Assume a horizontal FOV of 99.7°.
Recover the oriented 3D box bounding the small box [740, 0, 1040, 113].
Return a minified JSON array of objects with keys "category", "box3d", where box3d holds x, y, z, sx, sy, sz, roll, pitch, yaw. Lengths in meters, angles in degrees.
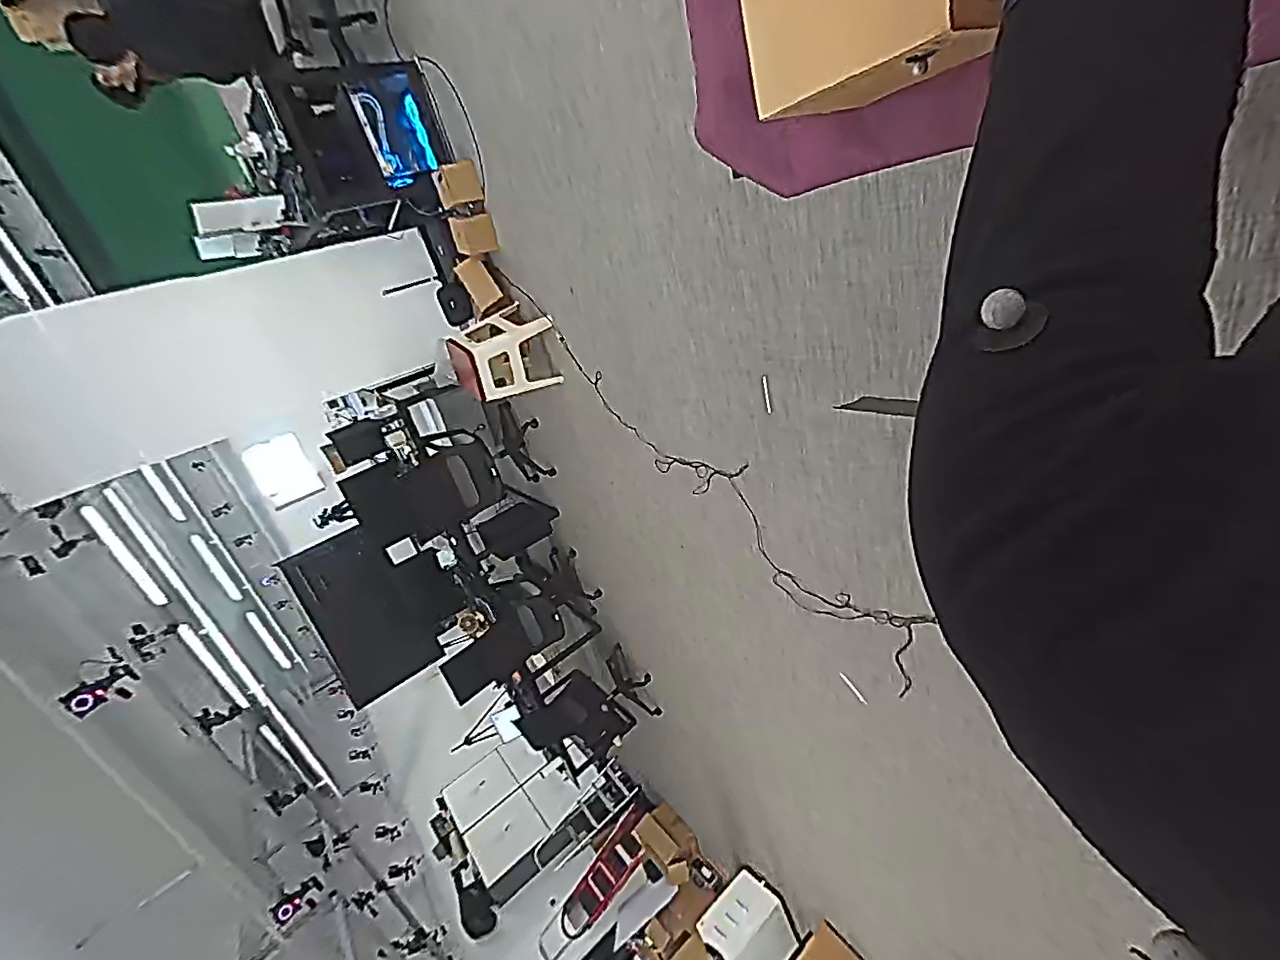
[{"category":"small box","box3d":[0.201,-0.433,0.448,0.179,0.176,0.168,14,127,52]}]
